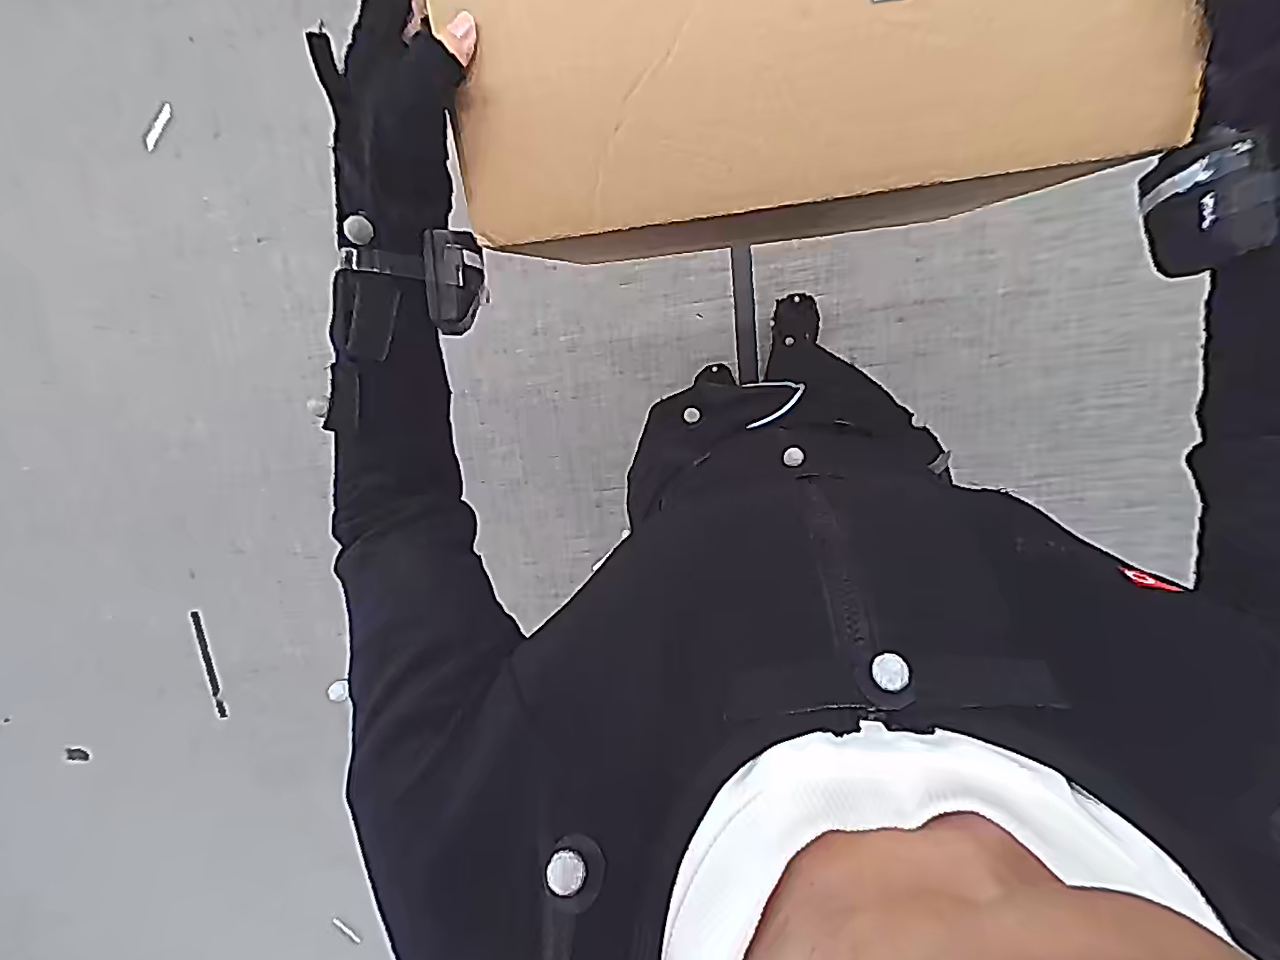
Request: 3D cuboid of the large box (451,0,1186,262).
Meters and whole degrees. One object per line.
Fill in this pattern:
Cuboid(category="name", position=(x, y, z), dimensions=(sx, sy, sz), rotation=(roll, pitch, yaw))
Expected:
Cuboid(category="large box", position=(0.094, -0.371, 0.424), dimensions=(0.408, 0.320, 0.320), rotation=(-5, 109, 8))
